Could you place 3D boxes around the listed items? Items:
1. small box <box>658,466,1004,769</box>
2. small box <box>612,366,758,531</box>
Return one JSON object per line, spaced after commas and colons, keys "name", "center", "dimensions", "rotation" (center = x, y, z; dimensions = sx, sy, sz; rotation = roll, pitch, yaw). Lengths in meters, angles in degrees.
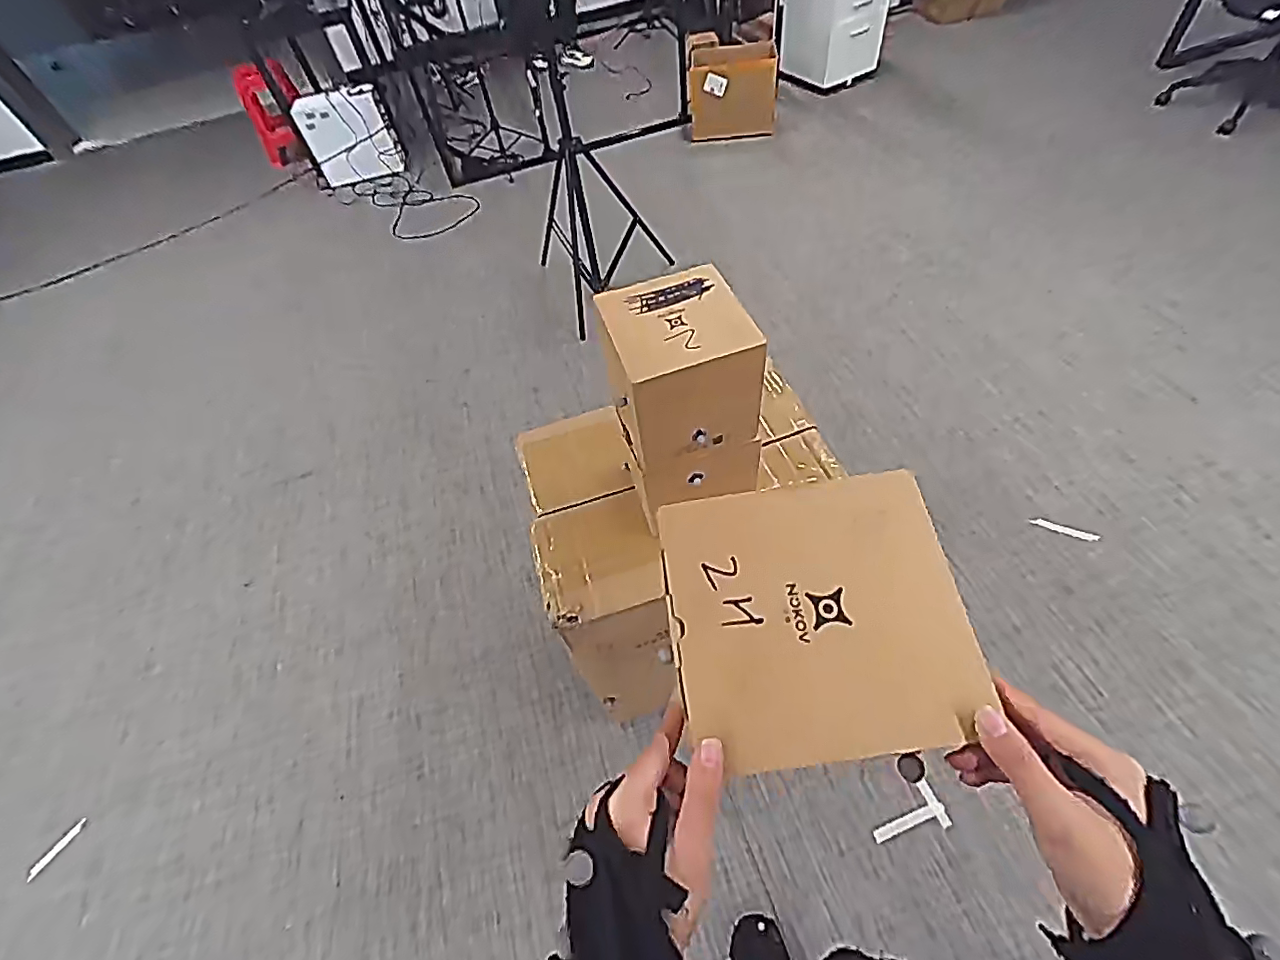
{"name": "small box", "center": [0.112, 0.108, 0.401], "dimensions": [0.179, 0.176, 0.168], "rotation": [-9, 64, 2]}
{"name": "small box", "center": [0.070, -0.044, 0.846], "dimensions": [0.179, 0.176, 0.168], "rotation": [-17, 54, -5]}
